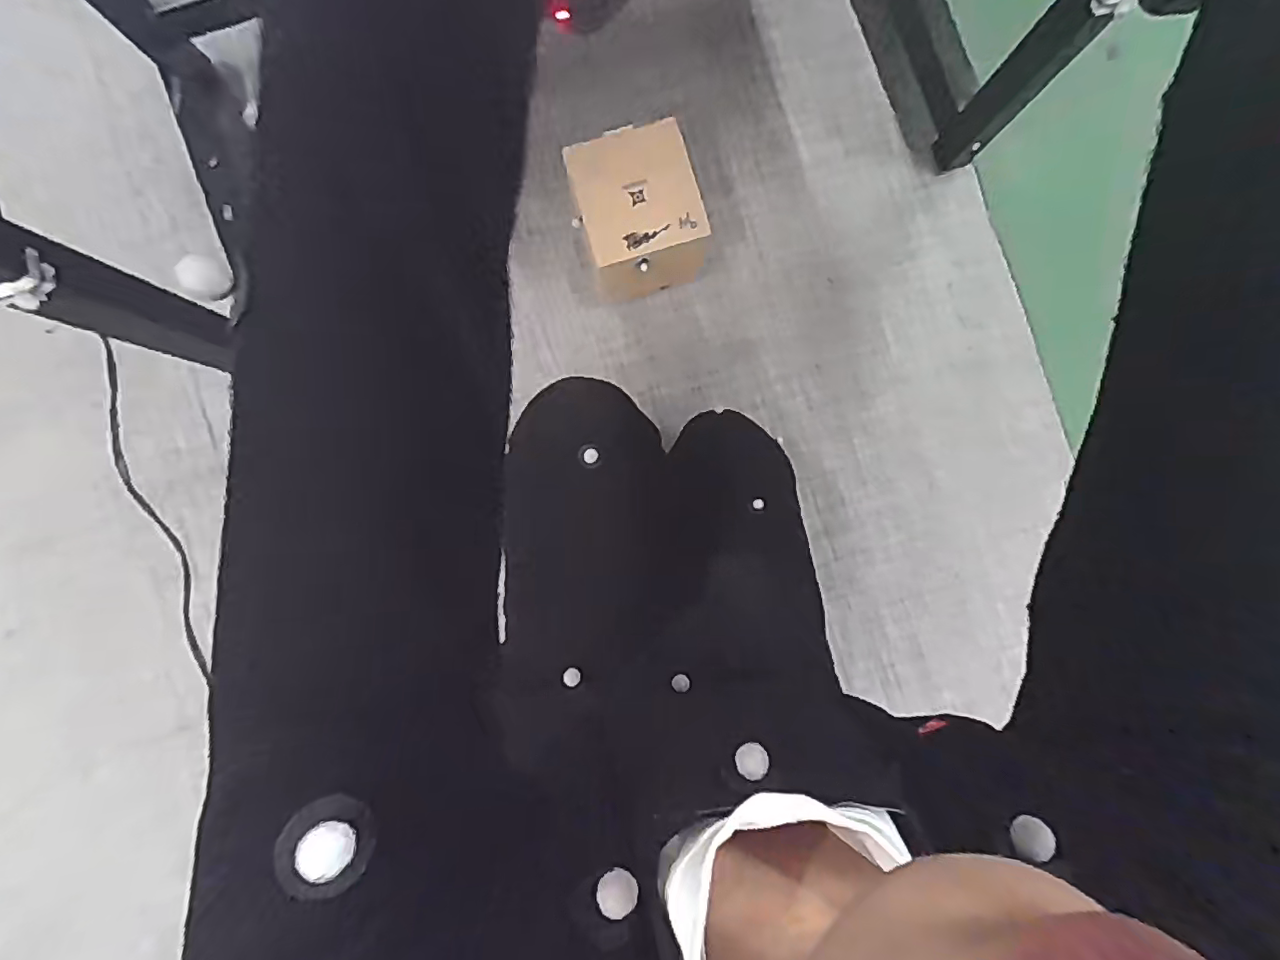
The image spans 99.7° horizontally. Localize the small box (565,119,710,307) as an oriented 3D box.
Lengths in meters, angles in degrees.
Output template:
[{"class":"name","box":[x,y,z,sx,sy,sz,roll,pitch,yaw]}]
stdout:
[{"class":"small box","box":[-0.006,-0.394,0.825,0.168,0.176,0.179,-17,87,-1]}]
